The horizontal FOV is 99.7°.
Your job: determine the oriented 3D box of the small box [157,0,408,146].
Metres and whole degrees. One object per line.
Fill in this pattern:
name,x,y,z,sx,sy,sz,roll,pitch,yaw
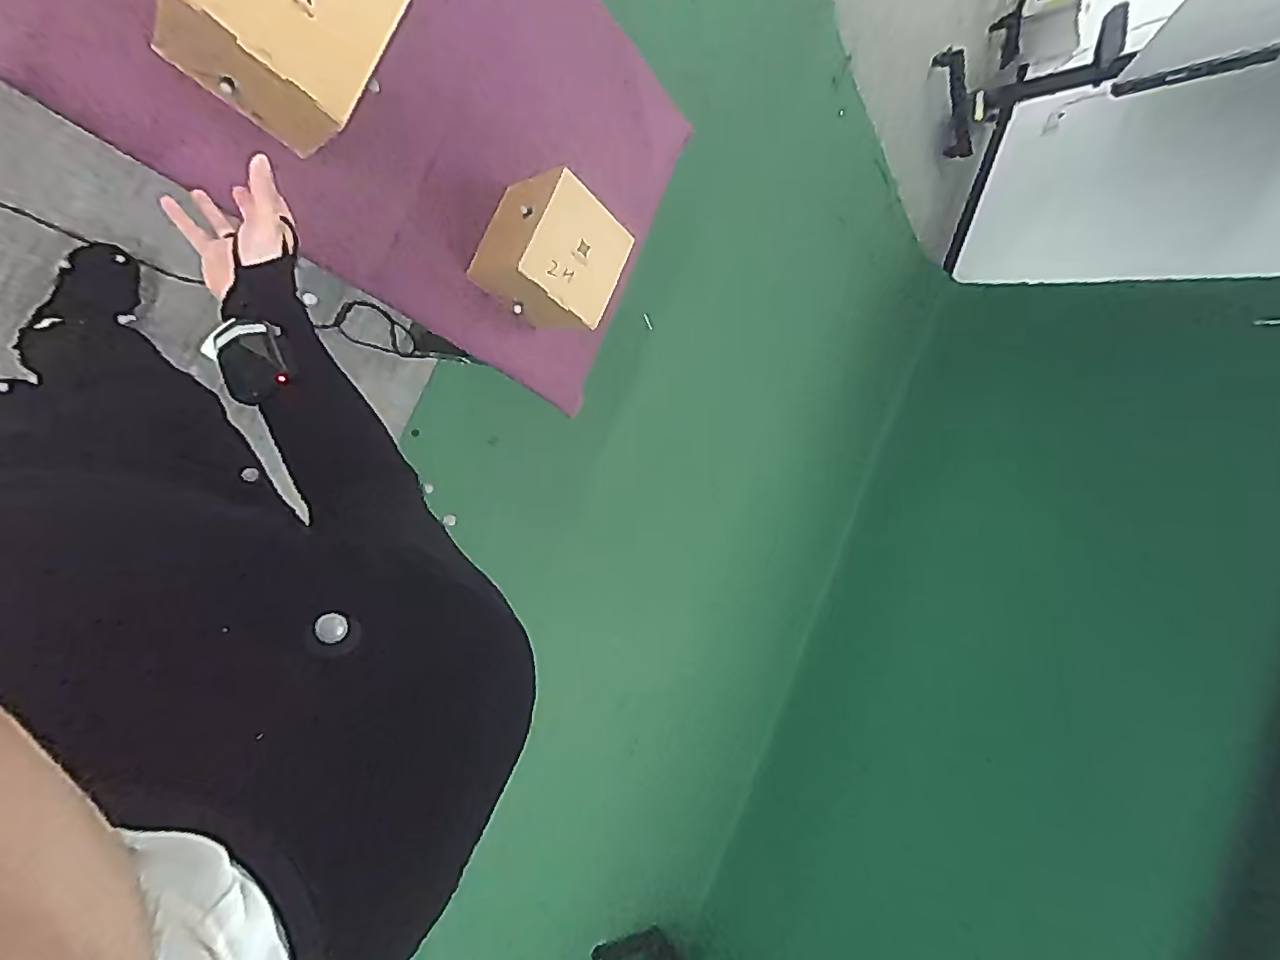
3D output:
small box,-0.400,-0.518,0.603,0.168,0.176,0.179,29,82,-46

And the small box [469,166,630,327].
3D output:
small box,-0.152,-0.374,0.894,0.168,0.176,0.179,30,81,-45
